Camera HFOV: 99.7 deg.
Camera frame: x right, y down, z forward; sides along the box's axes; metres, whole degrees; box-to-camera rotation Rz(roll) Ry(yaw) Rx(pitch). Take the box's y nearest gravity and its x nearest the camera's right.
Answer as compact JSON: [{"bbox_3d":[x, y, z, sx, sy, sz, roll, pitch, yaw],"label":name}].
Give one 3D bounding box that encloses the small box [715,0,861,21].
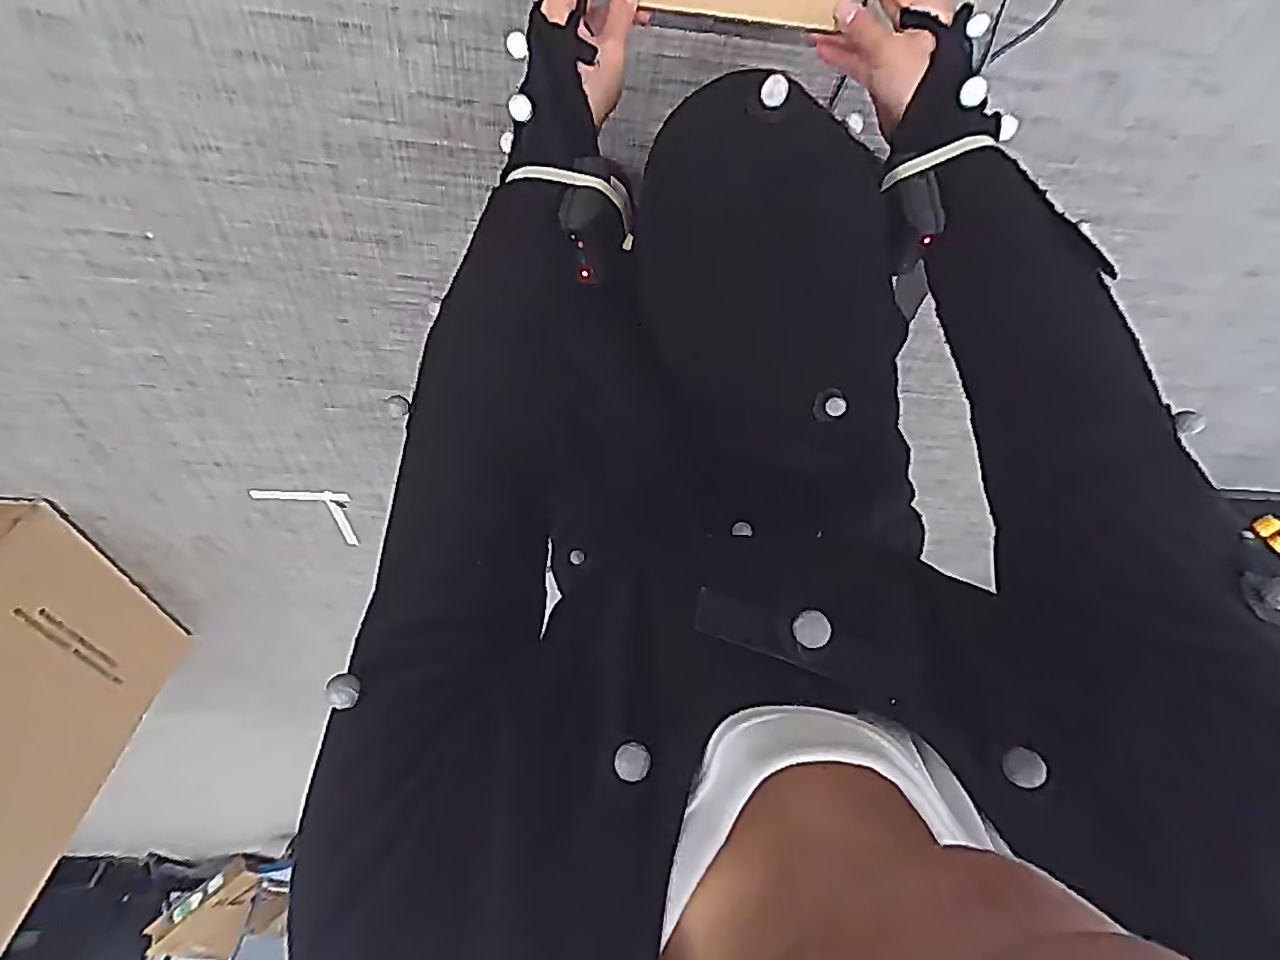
[{"bbox_3d":[0.079,-0.445,0.366,0.168,0.176,0.179,5,137,-4],"label":"small box"}]
